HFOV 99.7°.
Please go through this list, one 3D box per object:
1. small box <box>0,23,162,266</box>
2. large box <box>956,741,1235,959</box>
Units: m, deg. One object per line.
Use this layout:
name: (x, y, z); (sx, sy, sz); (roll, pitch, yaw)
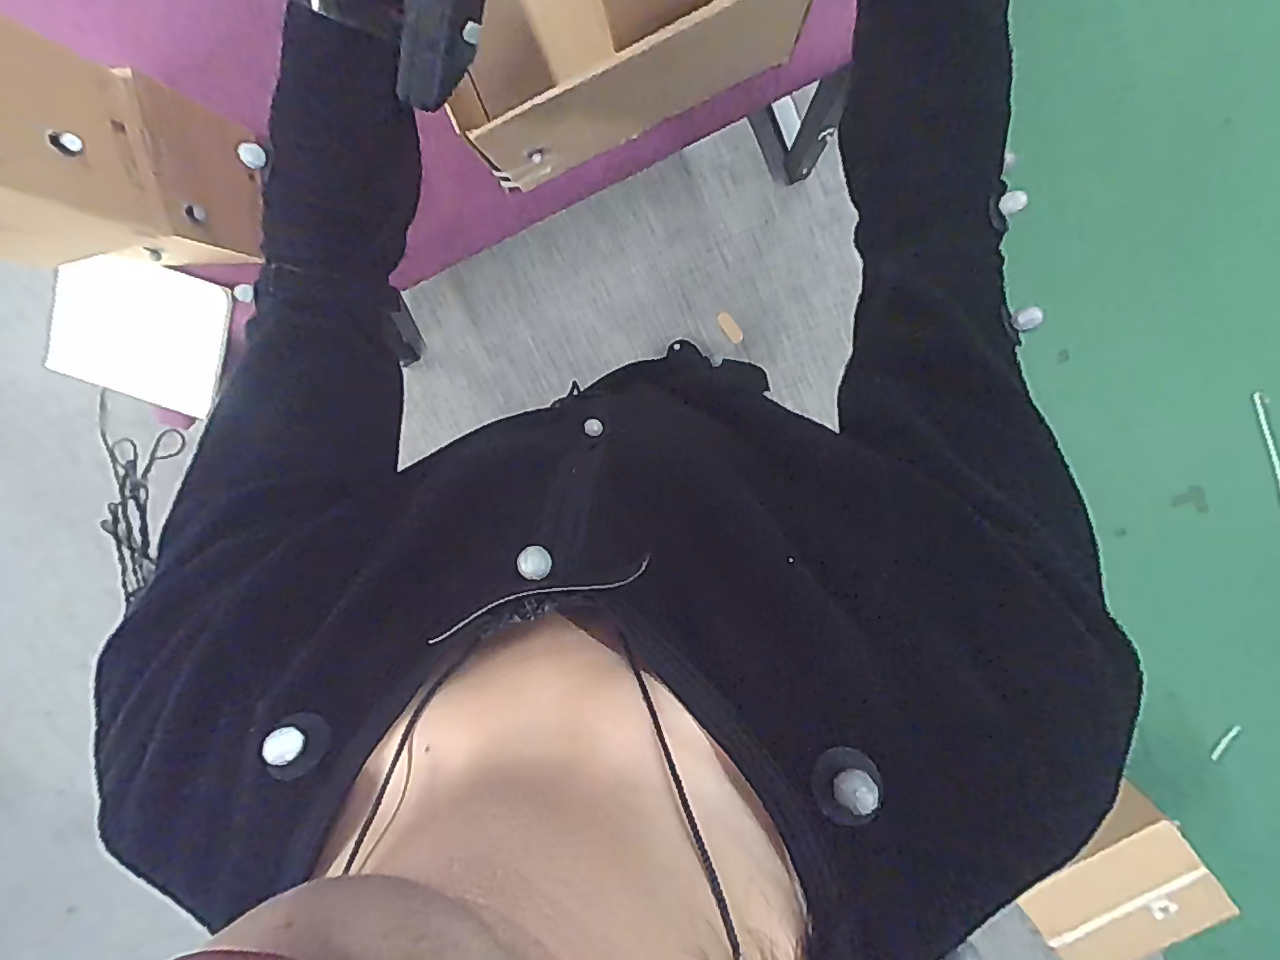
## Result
small box: (-0.620, -0.320, 0.522); (0.179, 0.176, 0.168); (-9, 99, 7)
large box: (1.161, 0.995, 1.432); (0.408, 0.320, 0.320); (-38, 95, 9)
